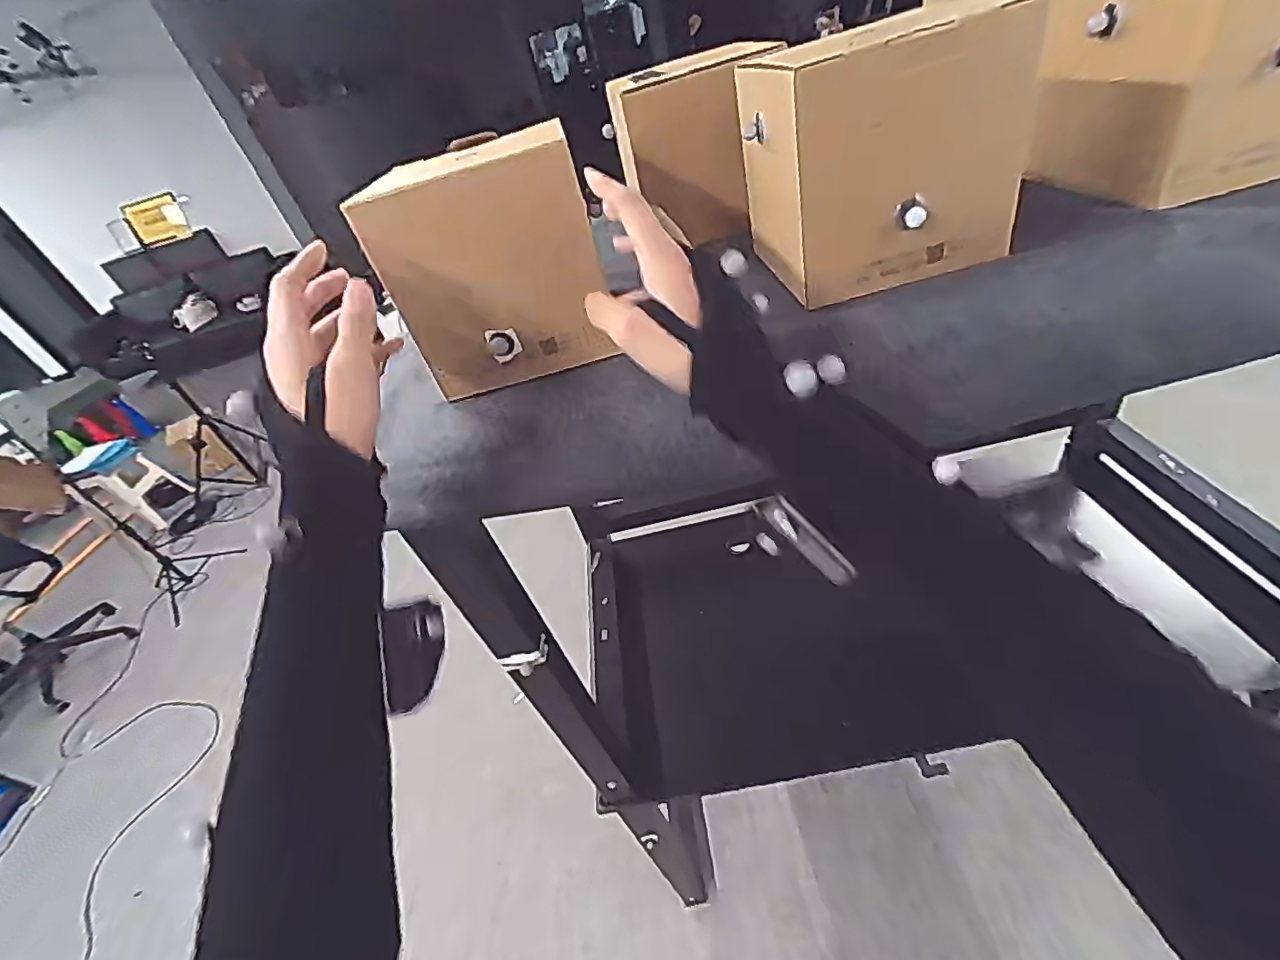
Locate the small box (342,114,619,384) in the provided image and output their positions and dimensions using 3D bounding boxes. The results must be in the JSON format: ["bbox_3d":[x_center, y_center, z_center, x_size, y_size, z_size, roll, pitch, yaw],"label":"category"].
[{"bbox_3d":[-0.124,-0.210,0.490,0.168,0.176,0.179,-16,37,2],"label":"small box"}]

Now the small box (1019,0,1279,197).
[{"bbox_3d":[0.455,-0.350,0.443,0.168,0.176,0.179,-14,36,5],"label":"small box"}]
